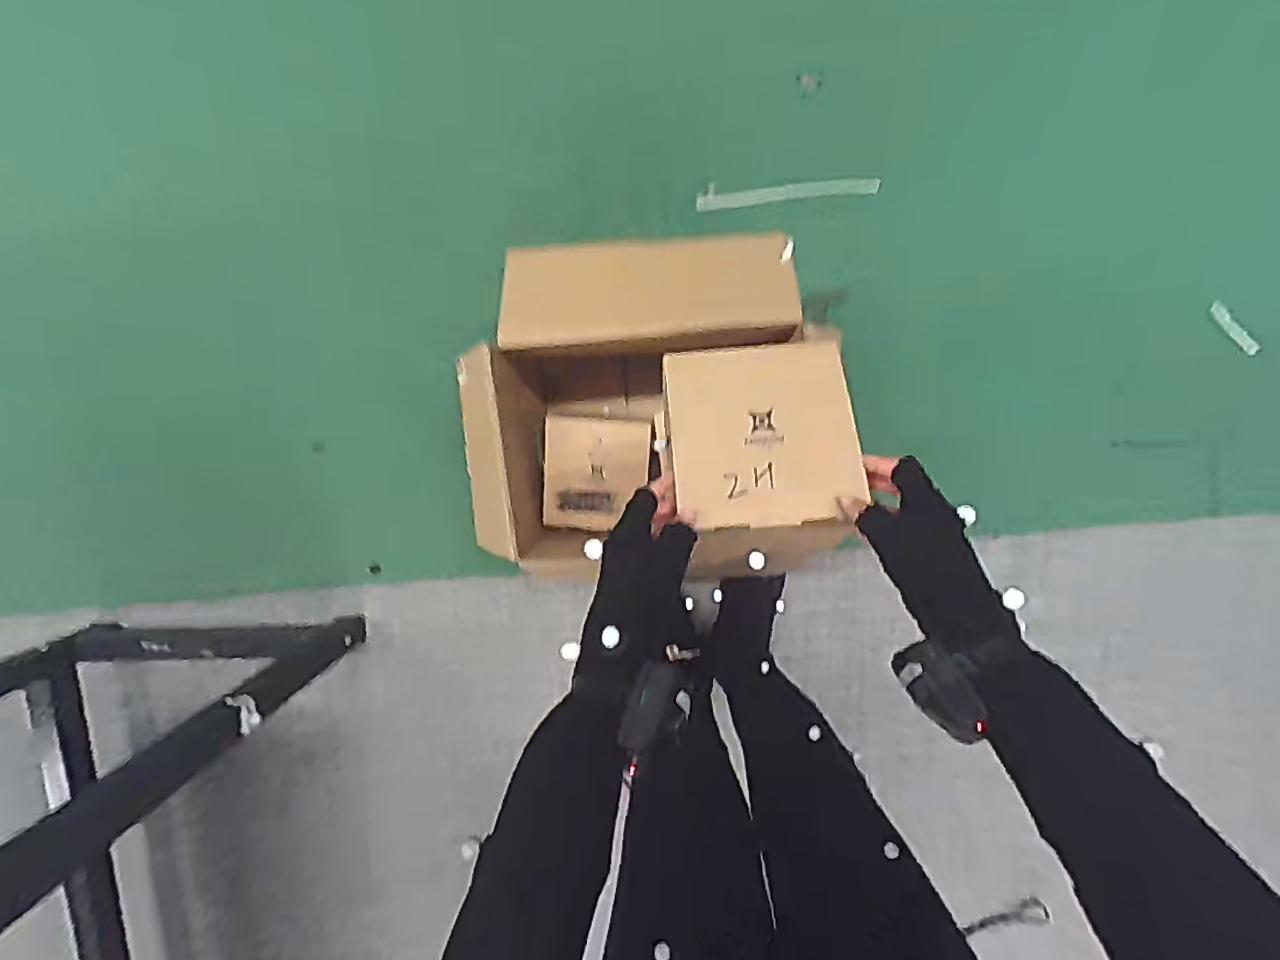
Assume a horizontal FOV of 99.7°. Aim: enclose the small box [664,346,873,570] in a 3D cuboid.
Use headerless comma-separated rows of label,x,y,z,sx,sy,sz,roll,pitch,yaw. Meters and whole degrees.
small box,0.111,-0.012,0.552,0.168,0.176,0.179,-4,71,2
